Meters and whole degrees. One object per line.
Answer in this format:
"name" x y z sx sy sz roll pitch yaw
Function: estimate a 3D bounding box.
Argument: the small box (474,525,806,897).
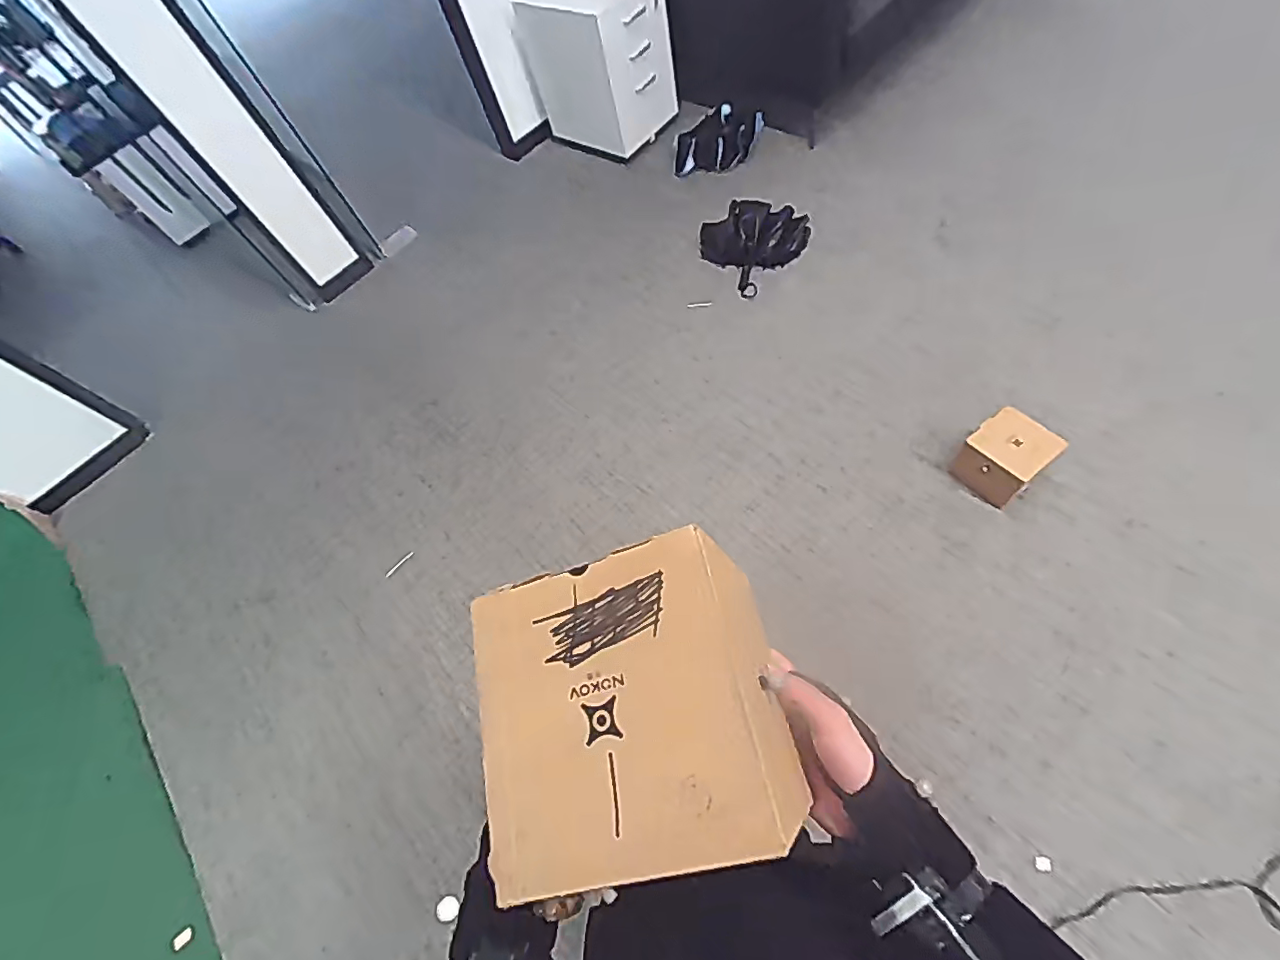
"small box" 0.006 0.156 0.383 0.168 0.176 0.179 -21 63 15

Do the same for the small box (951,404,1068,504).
"small box" 0.982 -0.065 1.459 0.168 0.176 0.179 -38 61 -7
